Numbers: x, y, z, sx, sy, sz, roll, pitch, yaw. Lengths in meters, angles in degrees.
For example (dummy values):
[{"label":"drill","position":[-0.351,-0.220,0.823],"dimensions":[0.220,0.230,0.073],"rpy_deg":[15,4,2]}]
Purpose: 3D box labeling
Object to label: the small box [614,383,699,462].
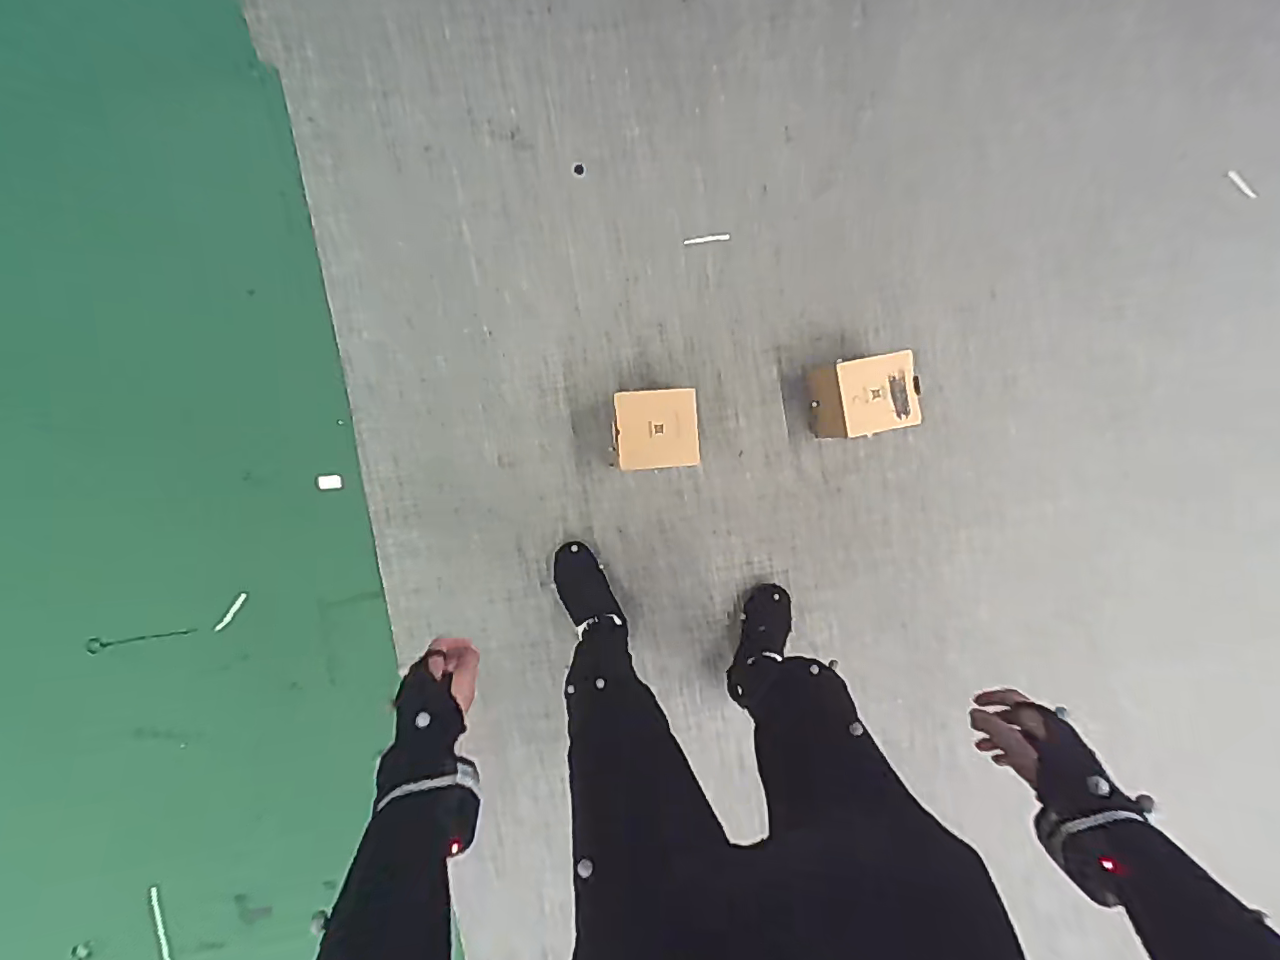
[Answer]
[{"label":"small box","position":[0.031,-0.126,1.216],"dimensions":[0.179,0.176,0.168],"rpy_deg":[-3,95,-5]}]
